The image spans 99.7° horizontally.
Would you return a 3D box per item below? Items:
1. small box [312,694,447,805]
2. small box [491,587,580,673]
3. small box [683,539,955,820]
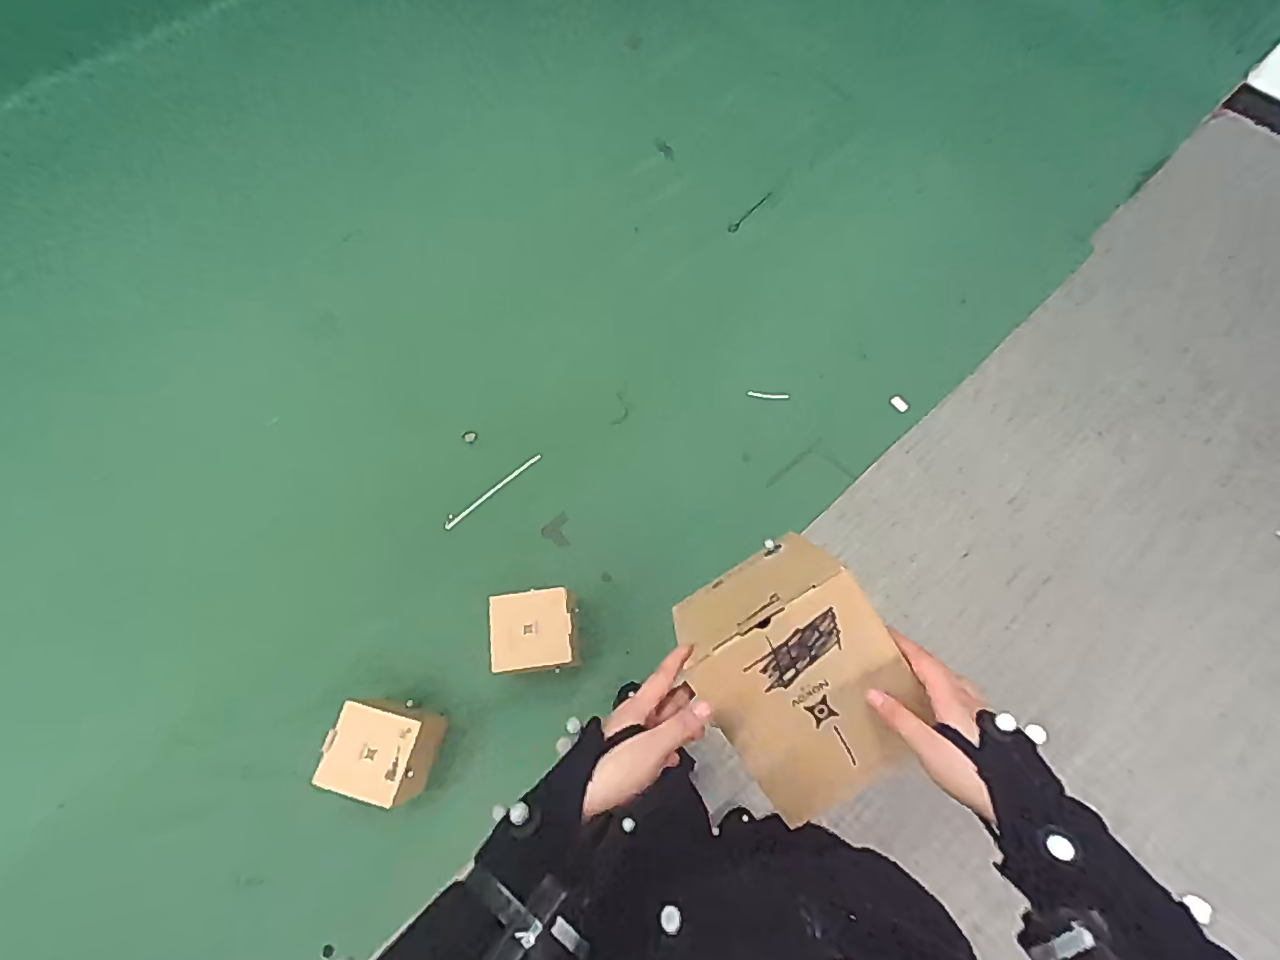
[{"bbox_3d":[-0.553,0.575,1.174,0.179,0.176,0.168,14,70,6],"label":"small box"},{"bbox_3d":[-0.236,0.351,1.256,0.179,0.176,0.168,-7,68,-2],"label":"small box"},{"bbox_3d":[0.156,0.174,0.537,0.168,0.176,0.179,-33,95,4],"label":"small box"}]
